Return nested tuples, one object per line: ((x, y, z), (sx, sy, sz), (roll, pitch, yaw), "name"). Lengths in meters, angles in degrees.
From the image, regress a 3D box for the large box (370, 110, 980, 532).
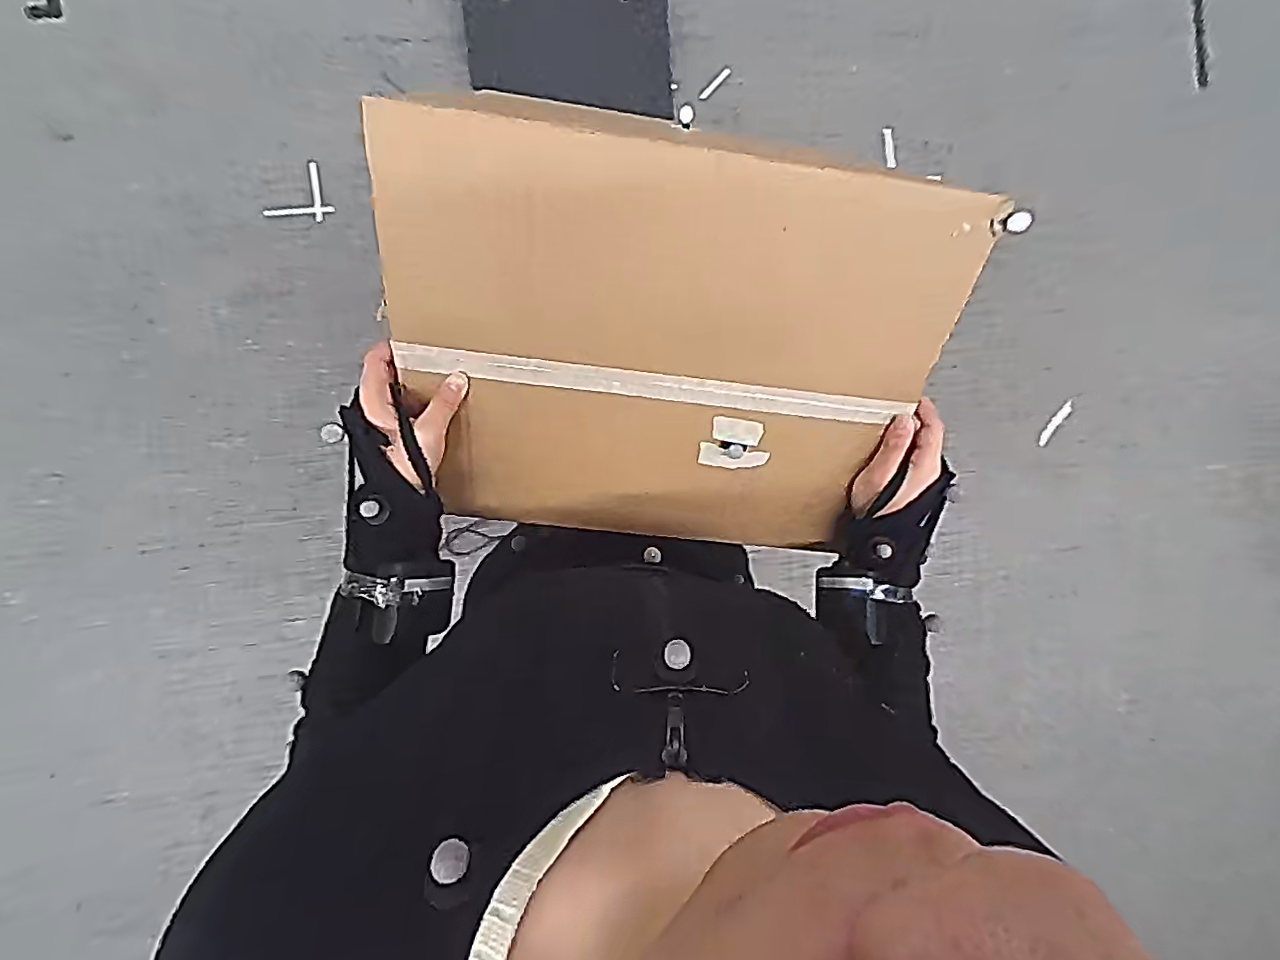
((0.010, -0.170, 0.550), (0.408, 0.320, 0.320), (4, 127, -5), "large box")

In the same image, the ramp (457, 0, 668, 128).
((-0.203, -1.359, 1.241), (0.509, 0.206, 0.991), (-8, 94, -8), "ramp")
